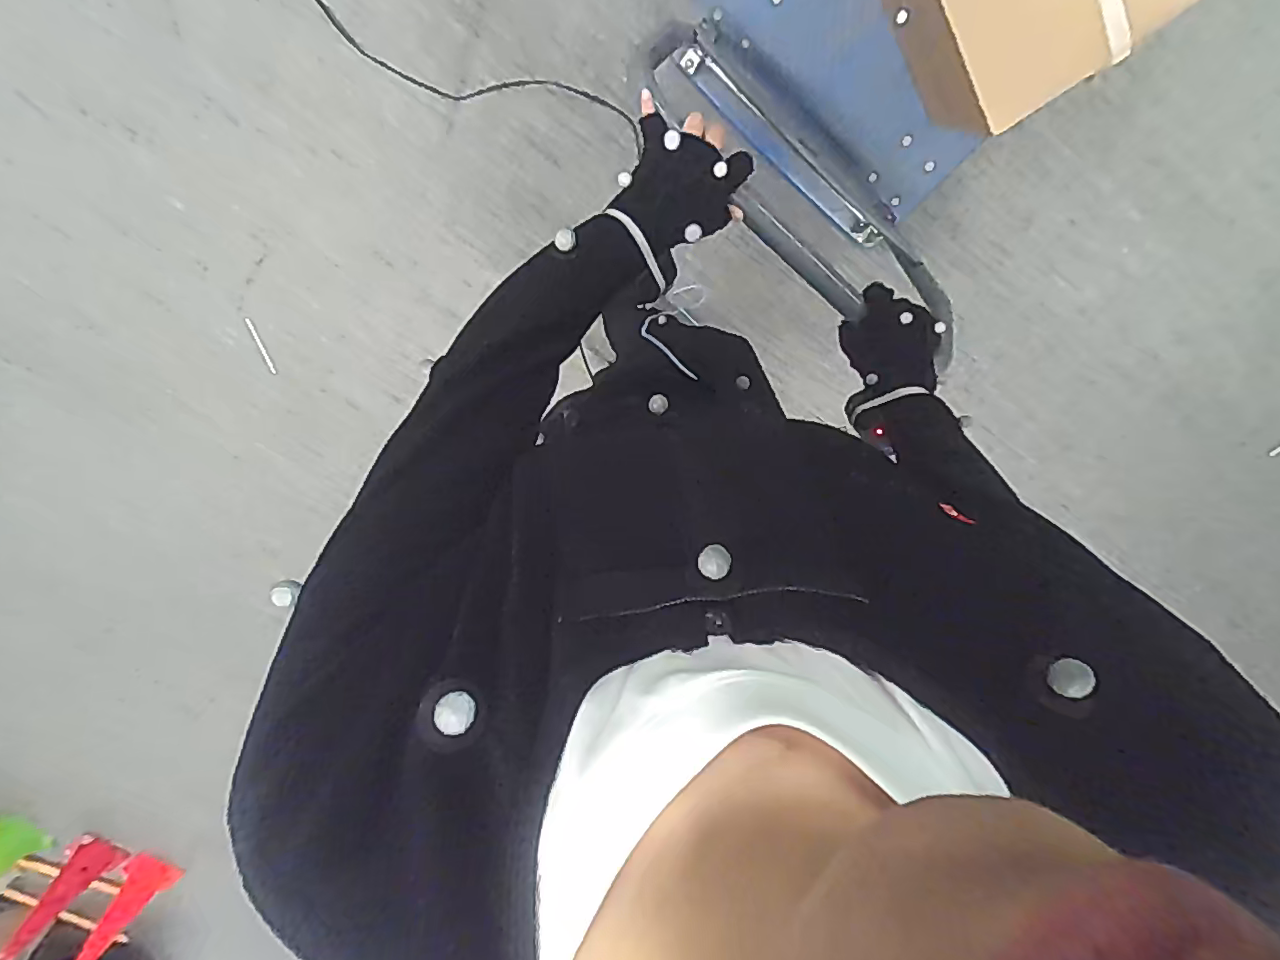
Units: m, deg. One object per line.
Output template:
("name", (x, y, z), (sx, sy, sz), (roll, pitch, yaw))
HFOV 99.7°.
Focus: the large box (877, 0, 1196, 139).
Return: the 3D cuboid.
("large box", (0.533, -0.788, 0.775), (0.320, 0.320, 0.408), (-29, 115, 27))
